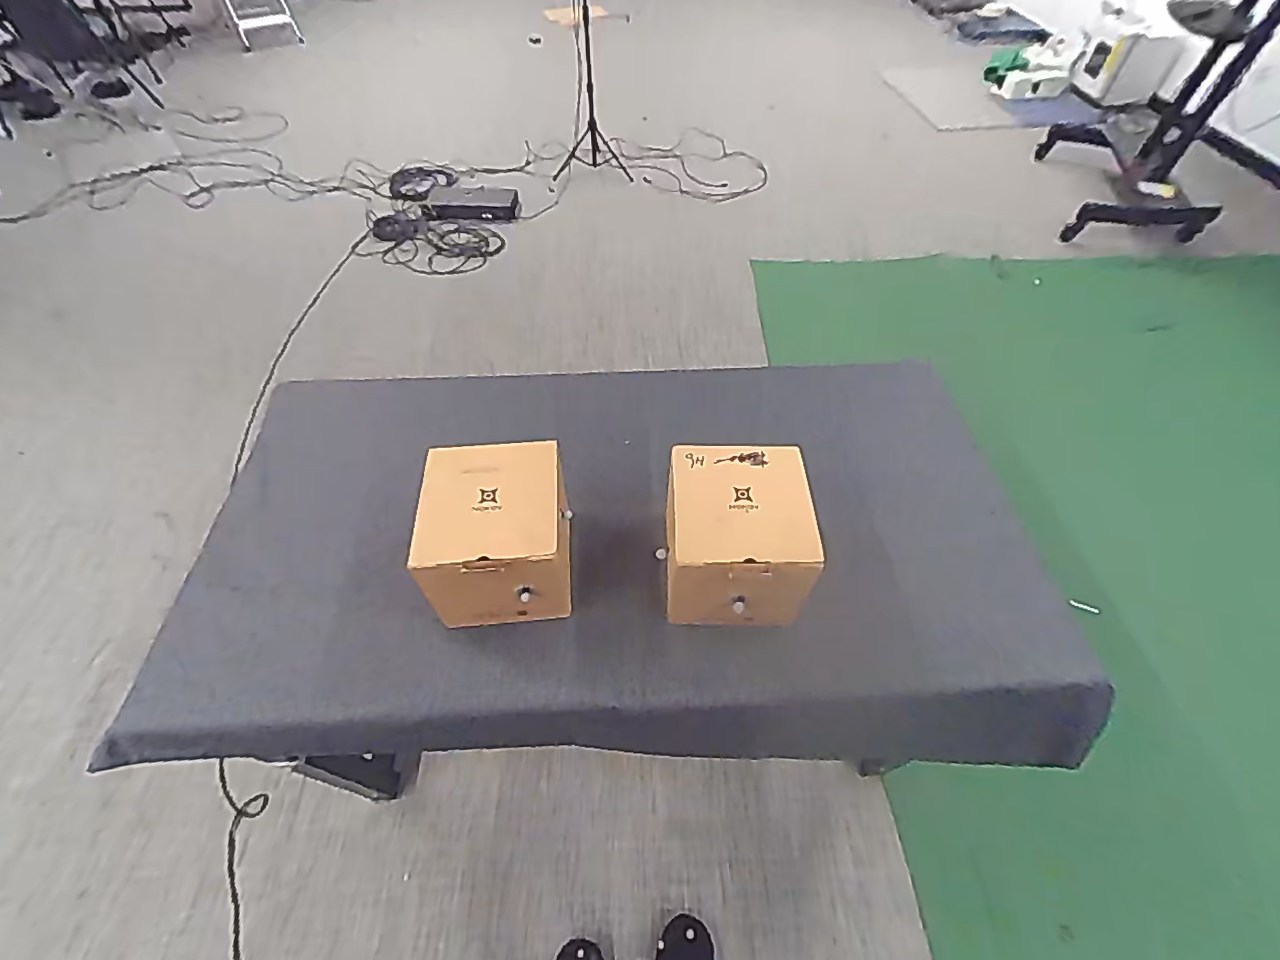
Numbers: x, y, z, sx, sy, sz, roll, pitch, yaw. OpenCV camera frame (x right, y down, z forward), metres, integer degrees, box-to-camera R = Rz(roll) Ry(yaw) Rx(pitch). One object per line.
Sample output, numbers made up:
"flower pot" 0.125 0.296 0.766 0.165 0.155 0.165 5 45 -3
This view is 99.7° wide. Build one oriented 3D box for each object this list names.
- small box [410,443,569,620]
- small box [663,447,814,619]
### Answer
"small box" -0.186 0.075 0.721 0.168 0.176 0.179 -4 52 -5
"small box" 0.117 0.075 0.716 0.168 0.176 0.179 0 53 1
